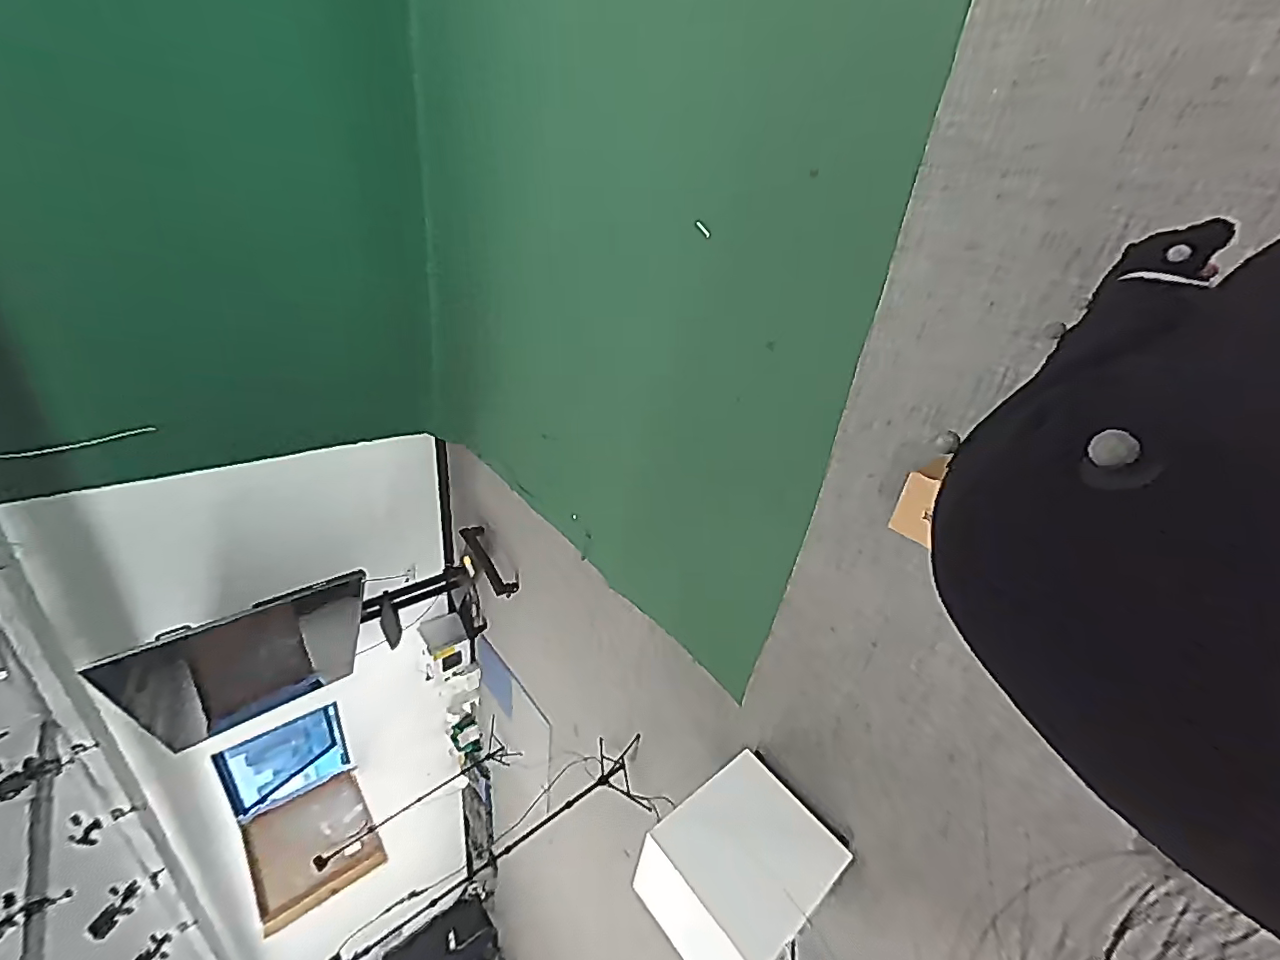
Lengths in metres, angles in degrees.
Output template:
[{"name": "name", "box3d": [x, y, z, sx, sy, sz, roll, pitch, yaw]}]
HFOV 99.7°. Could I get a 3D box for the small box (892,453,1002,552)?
[{"name": "small box", "box3d": [0.793, 0.052, 1.395, 0.168, 0.176, 0.179, 35, 128, 39]}]
